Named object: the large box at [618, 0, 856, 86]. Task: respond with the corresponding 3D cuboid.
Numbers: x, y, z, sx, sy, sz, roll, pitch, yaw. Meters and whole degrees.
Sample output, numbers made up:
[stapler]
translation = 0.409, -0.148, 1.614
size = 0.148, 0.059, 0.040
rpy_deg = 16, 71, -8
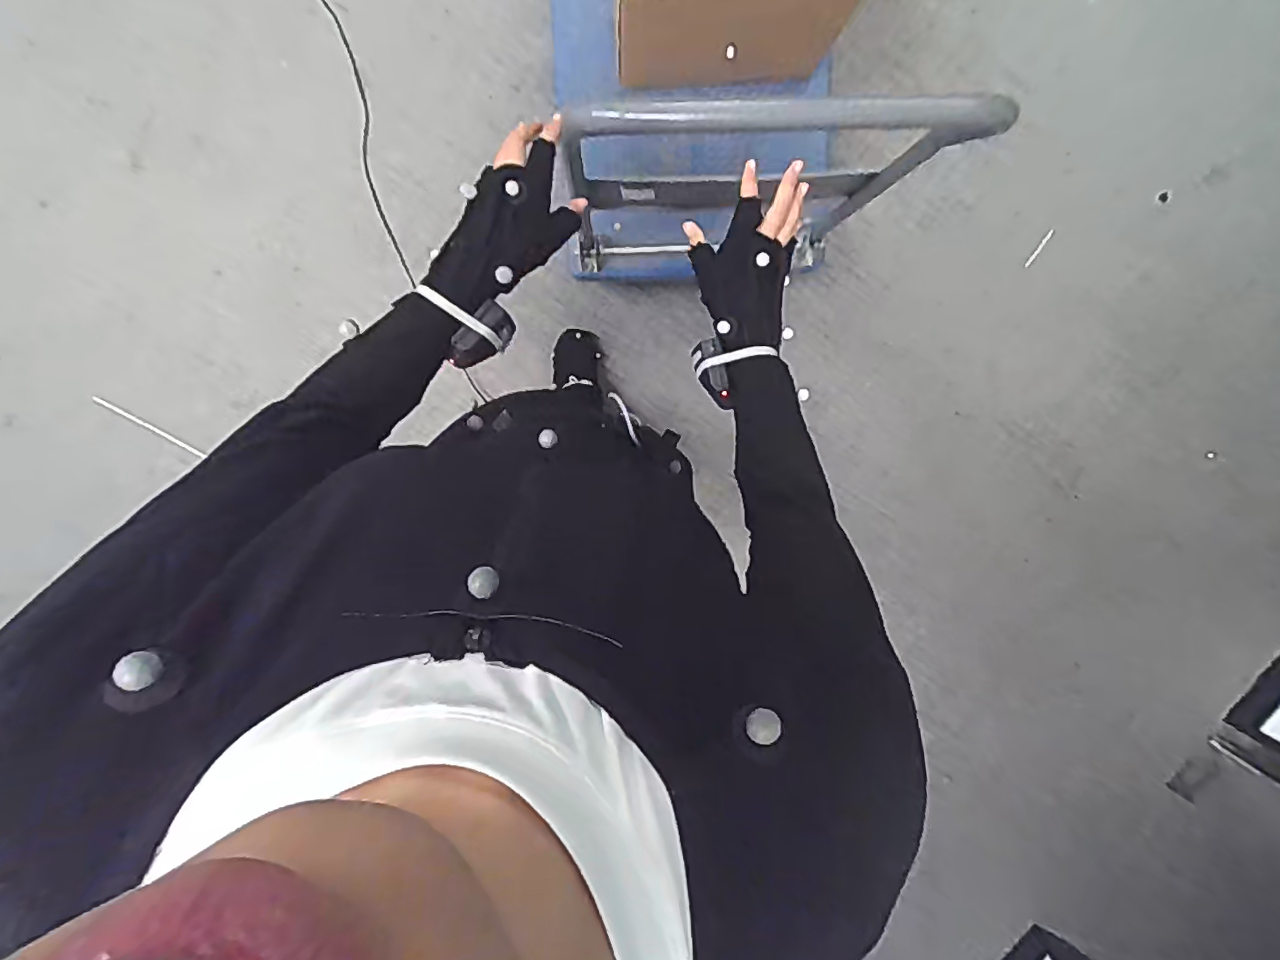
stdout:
[large box]
translation = 0.158, -0.959, 0.959
size = 0.408, 0.320, 0.320
rpy_deg = -5, 101, 0
